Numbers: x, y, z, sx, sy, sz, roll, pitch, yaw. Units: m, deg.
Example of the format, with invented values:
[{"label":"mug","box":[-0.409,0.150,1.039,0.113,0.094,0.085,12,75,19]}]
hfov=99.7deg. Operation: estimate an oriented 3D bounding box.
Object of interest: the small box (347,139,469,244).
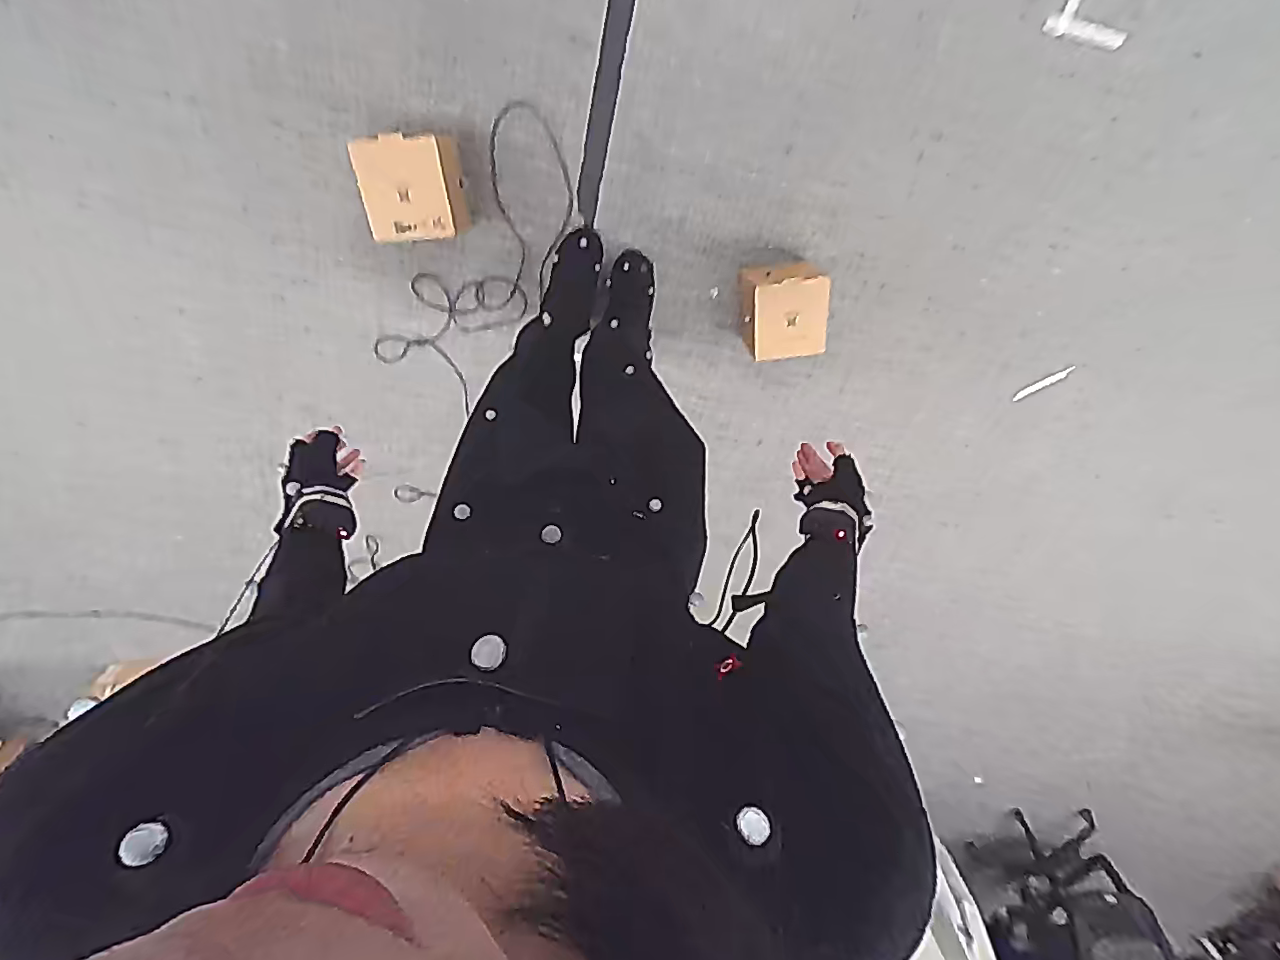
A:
[{"label":"small box","box":[-0.463,-0.589,1.106,0.168,0.176,0.179,-4,121,-2]}]

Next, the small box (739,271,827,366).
[{"label":"small box","box":[0.330,-0.387,1.276,0.168,0.176,0.179,-7,122,2]}]
